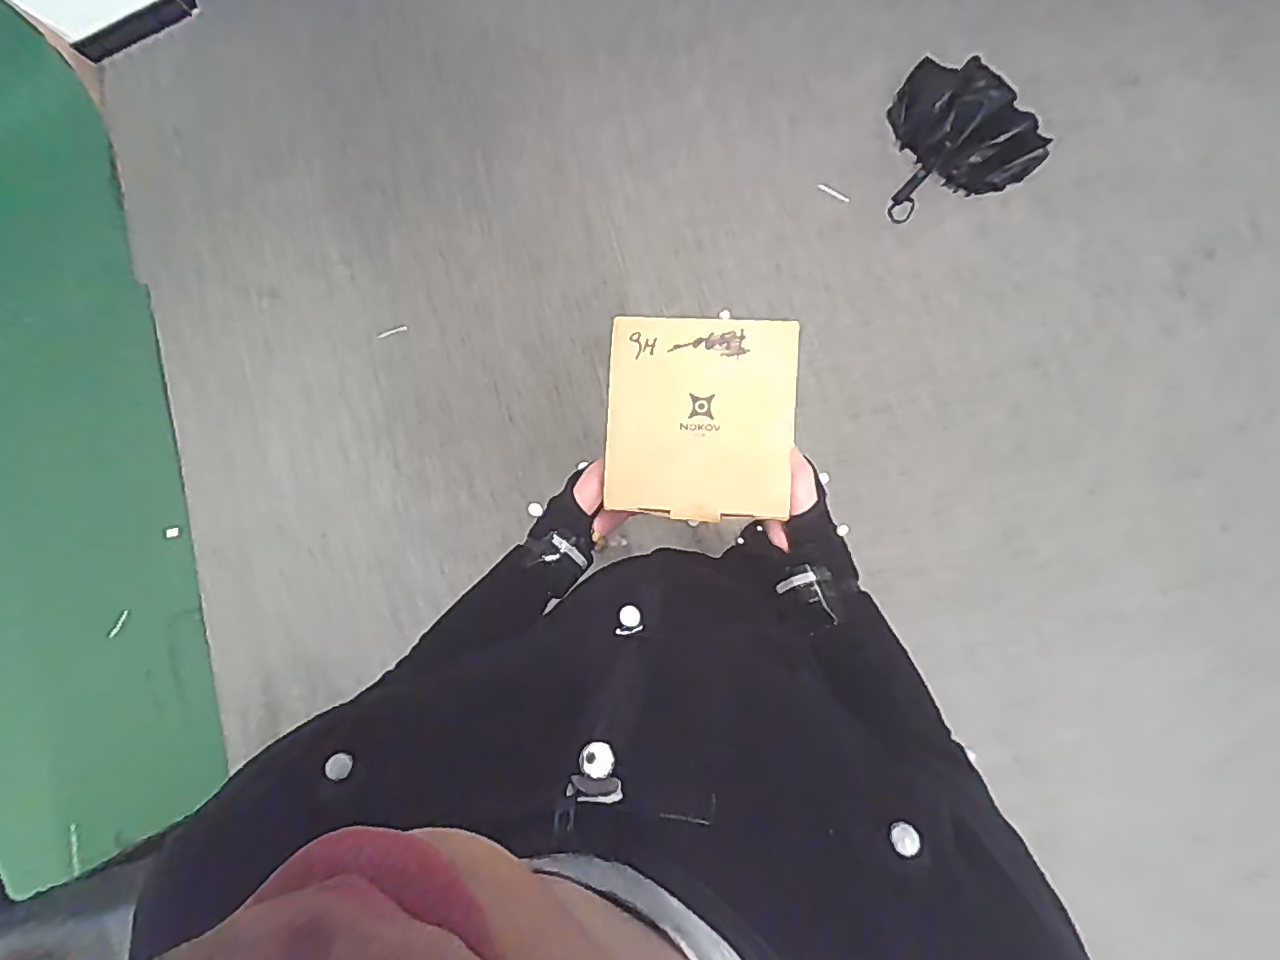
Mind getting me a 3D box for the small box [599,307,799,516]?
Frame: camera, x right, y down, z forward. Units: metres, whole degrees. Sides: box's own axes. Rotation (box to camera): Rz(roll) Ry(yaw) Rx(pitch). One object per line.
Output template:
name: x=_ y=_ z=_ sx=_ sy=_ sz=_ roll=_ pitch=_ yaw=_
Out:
small box: x=0.056 y=-0.061 z=0.547 sx=0.168 sy=0.176 sz=0.179 roll=3 pitch=90 yaw=4
